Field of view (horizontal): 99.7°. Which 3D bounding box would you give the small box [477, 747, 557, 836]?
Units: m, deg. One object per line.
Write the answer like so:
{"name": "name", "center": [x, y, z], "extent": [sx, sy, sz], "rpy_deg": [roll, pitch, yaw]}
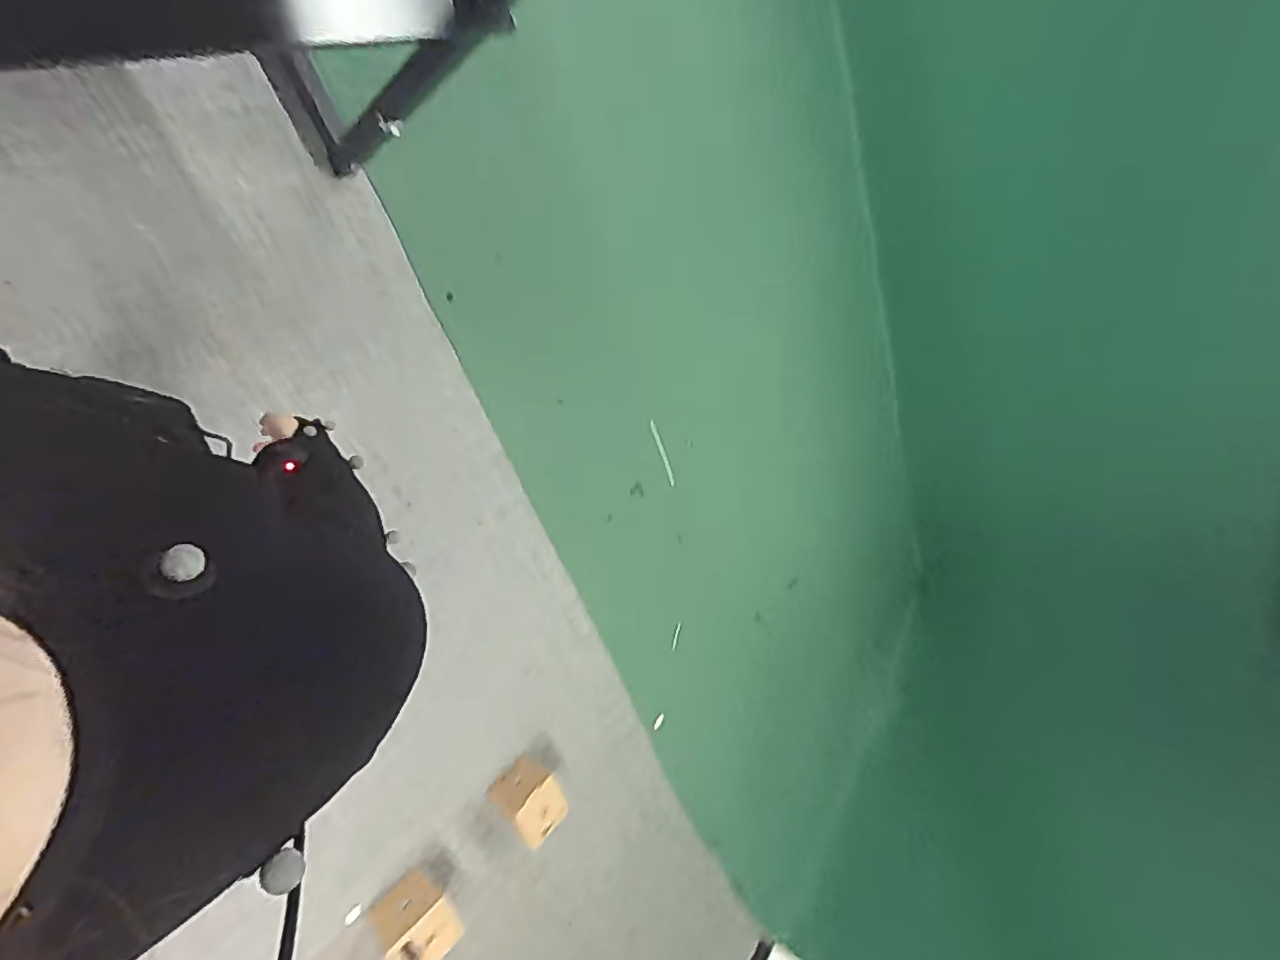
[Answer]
{"name": "small box", "center": [-0.415, 1.031, 1.811], "extent": [0.168, 0.176, 0.179], "rpy_deg": [-36, 118, -38]}
